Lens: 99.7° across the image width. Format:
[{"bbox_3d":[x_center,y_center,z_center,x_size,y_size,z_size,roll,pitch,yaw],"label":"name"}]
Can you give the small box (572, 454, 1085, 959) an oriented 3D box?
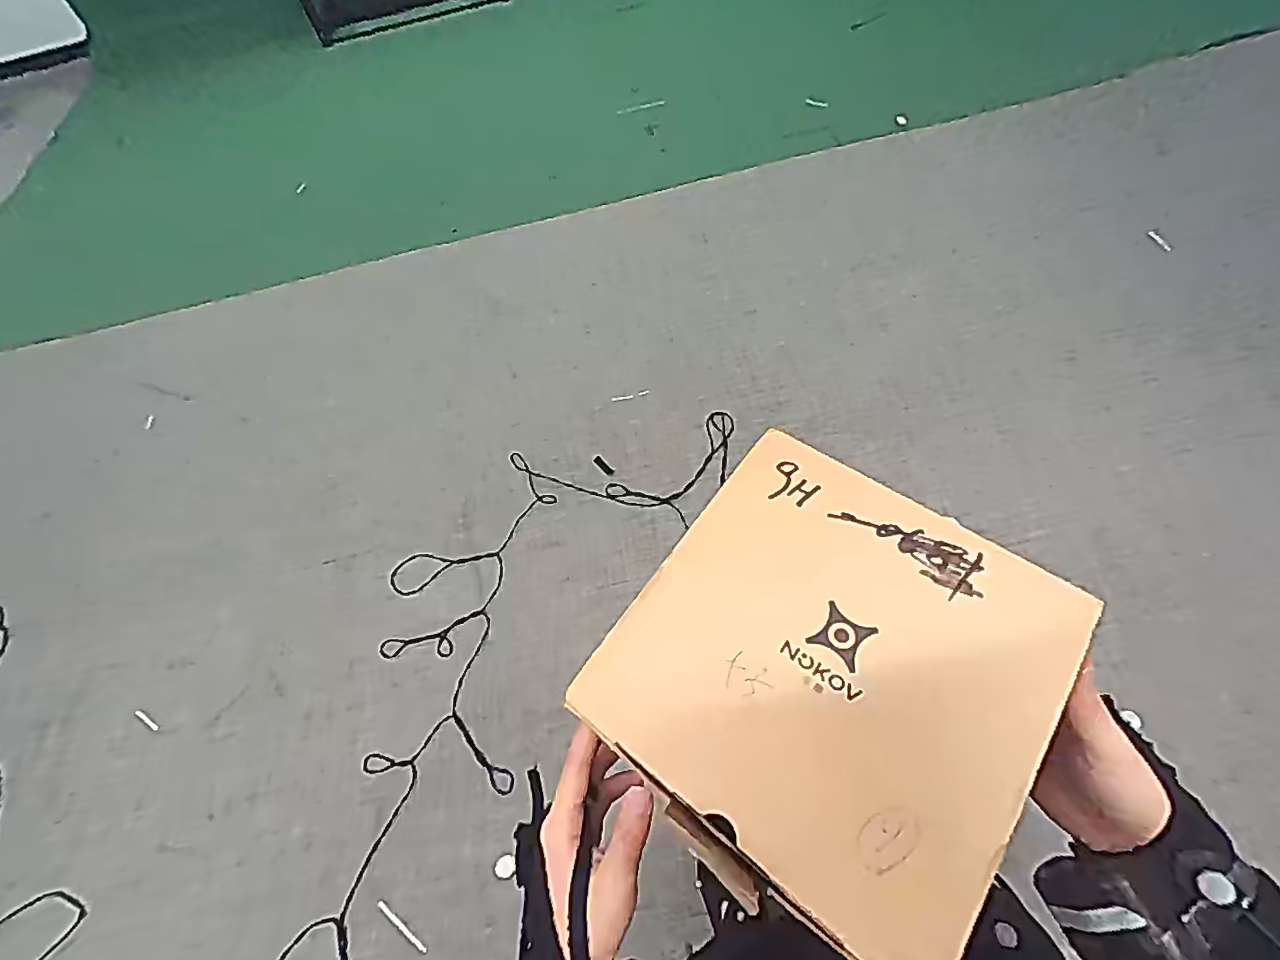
[{"bbox_3d":[0.092,0.125,0.312,0.168,0.176,0.179,32,70,22],"label":"small box"}]
